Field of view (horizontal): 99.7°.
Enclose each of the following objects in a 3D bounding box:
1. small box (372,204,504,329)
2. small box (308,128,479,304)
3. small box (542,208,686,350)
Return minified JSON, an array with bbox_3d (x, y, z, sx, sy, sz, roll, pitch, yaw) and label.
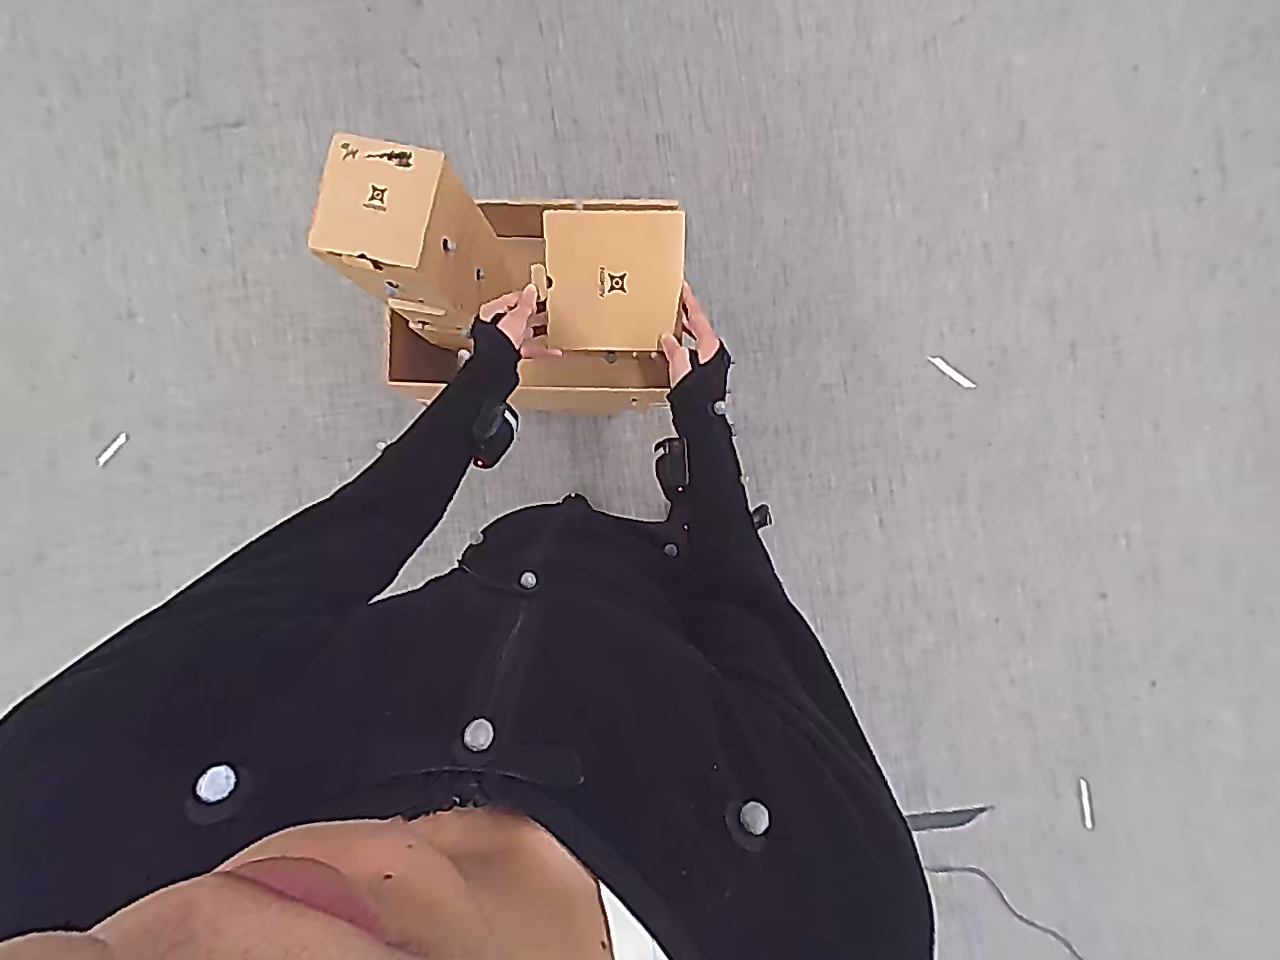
[{"bbox_3d":[-0.363,-0.395,1.002,0.168,0.176,0.179,9,88,2],"label":"small box"},{"bbox_3d":[-0.367,-0.394,0.838,0.168,0.176,0.179,13,89,2],"label":"small box"},{"bbox_3d":[-0.028,-0.267,0.744,0.179,0.176,0.168,2,104,5],"label":"small box"}]
